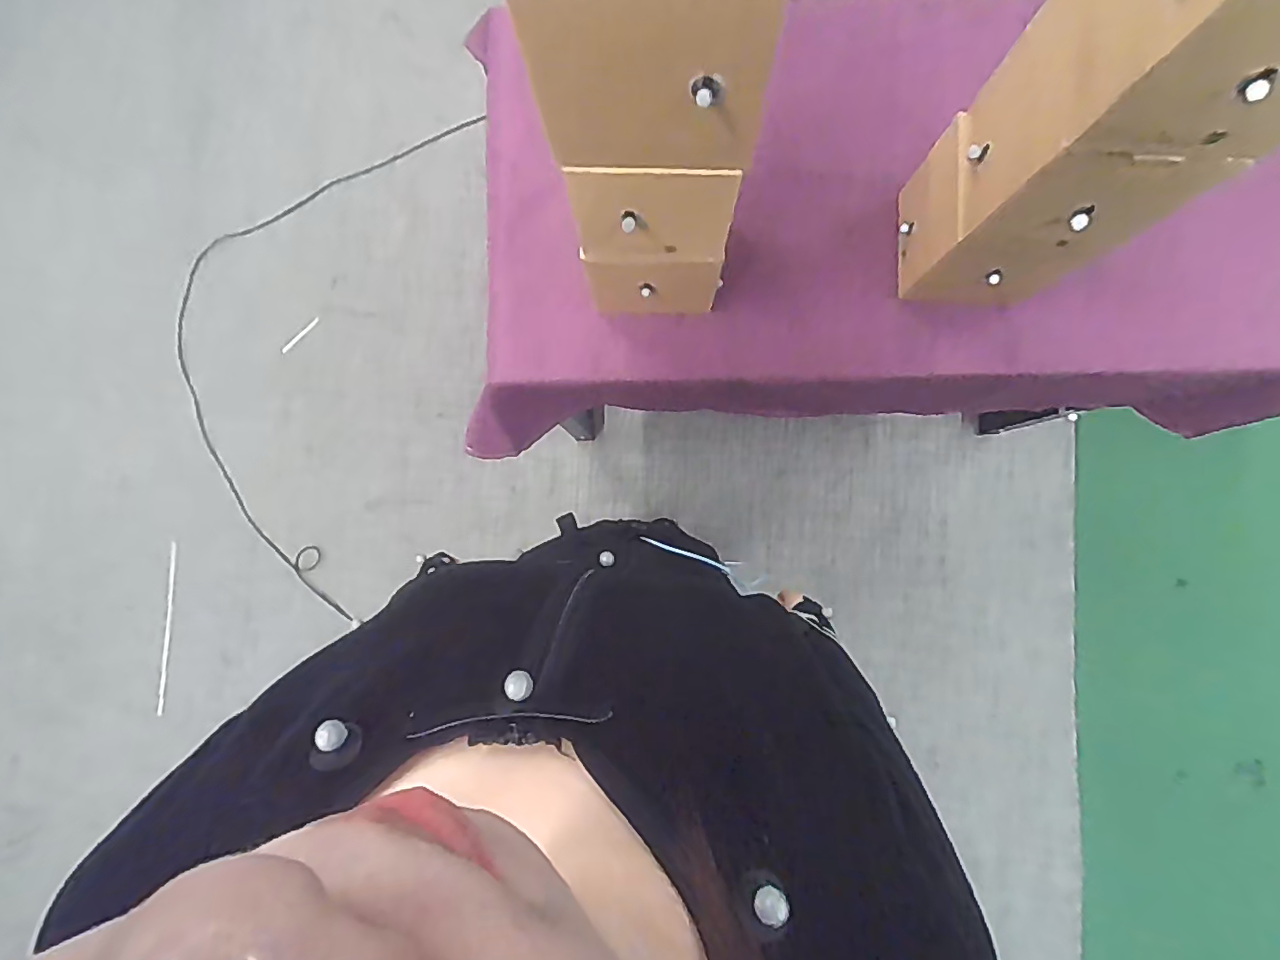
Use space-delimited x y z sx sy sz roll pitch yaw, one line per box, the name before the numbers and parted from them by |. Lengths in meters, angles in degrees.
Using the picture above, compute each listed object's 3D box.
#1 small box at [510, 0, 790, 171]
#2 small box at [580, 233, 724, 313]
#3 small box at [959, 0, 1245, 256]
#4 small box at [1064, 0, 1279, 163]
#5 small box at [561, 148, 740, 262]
small box | 0.011 -0.365 0.412 0.179 0.176 0.168 3 84 2
small box | 0.018 -0.338 0.736 0.179 0.176 0.168 1 86 2
small box | 0.461 -0.356 0.561 0.168 0.176 0.179 6 87 2
small box | 0.454 -0.366 0.396 0.168 0.176 0.179 5 86 2
small box | 0.017 -0.352 0.574 0.168 0.176 0.179 3 85 2
